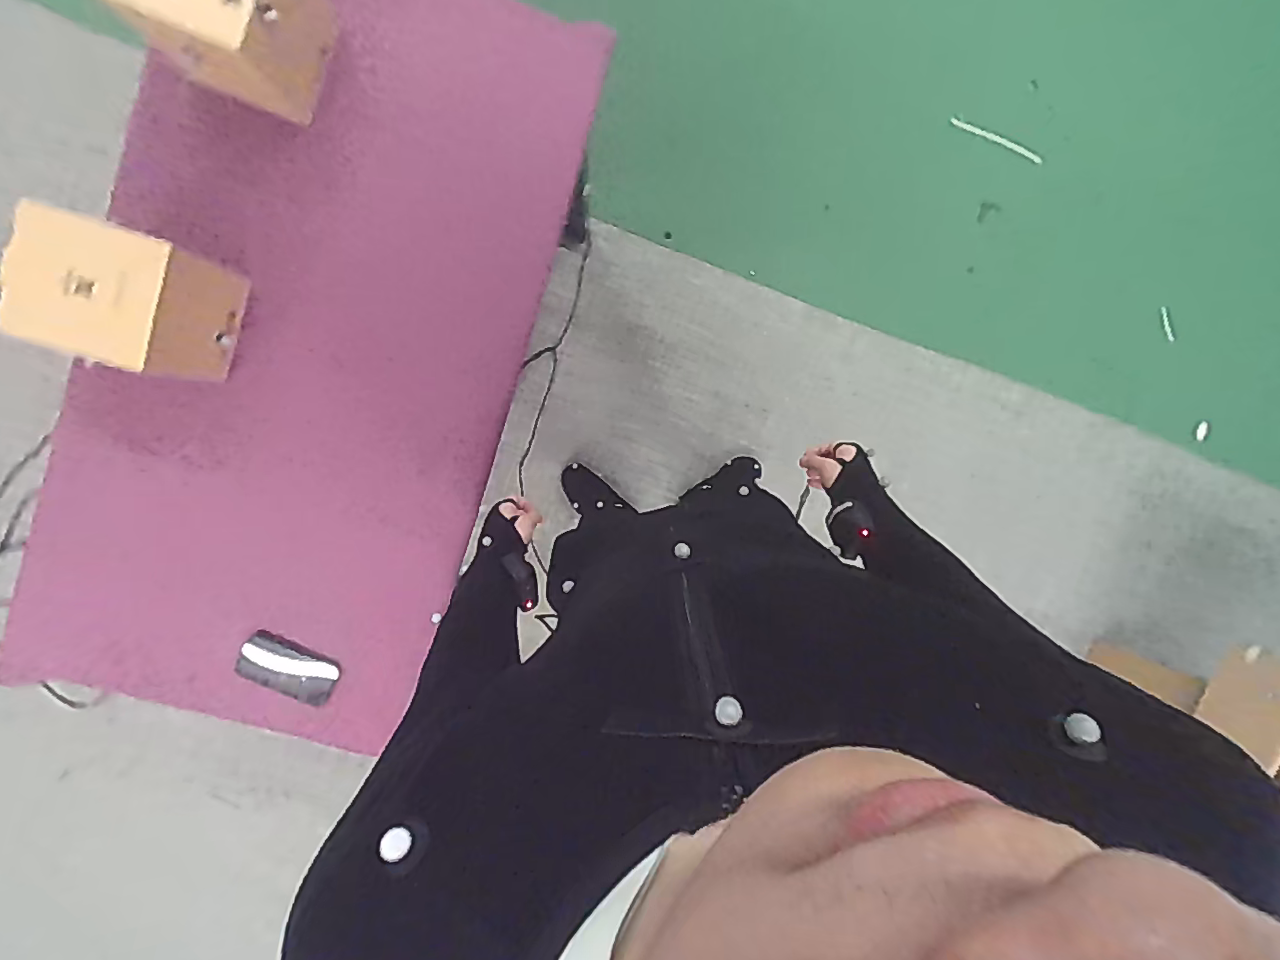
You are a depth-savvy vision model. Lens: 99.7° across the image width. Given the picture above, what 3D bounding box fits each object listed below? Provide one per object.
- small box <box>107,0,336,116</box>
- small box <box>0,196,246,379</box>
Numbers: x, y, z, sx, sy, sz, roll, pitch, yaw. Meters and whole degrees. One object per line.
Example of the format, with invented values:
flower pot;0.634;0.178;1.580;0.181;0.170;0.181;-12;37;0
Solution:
small box;-0.546;-0.627;0.710;0.179;0.176;0.168;20;94;-6
small box;-0.689;-0.242;0.731;0.179;0.176;0.168;16;94;-7
